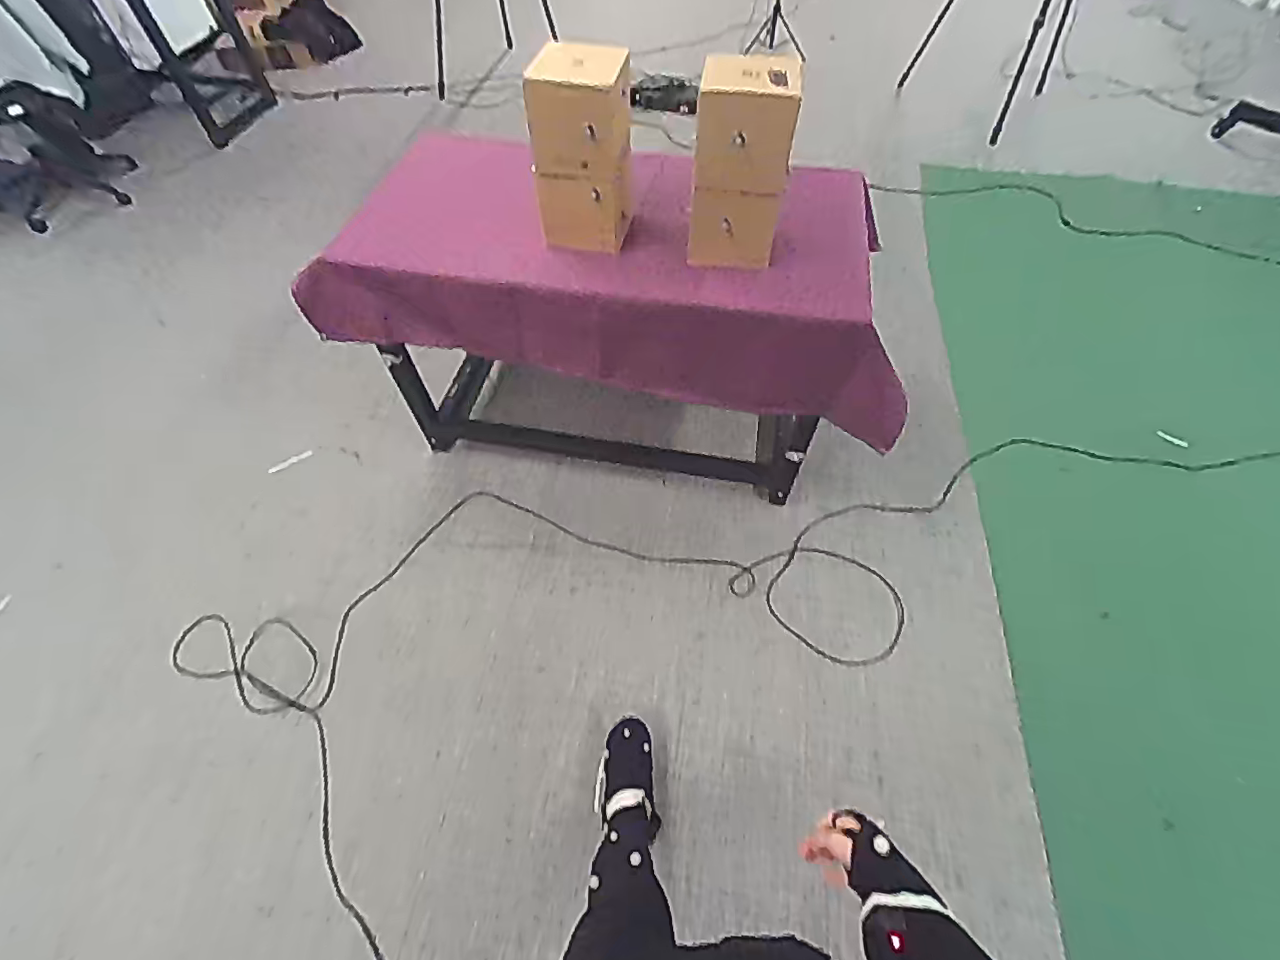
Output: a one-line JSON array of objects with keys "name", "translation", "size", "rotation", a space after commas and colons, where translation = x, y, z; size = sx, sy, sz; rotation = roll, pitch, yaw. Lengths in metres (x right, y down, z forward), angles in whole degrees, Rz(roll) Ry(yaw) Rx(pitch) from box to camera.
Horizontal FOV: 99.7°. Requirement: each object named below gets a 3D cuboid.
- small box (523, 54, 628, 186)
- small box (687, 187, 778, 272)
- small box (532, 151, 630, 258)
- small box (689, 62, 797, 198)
[{"name": "small box", "translation": [-0.118, -0.714, 1.078], "size": [0.168, 0.176, 0.179], "rotation": [9, 55, 5]}, {"name": "small box", "translation": [0.197, -0.570, 1.167], "size": [0.179, 0.176, 0.168], "rotation": [6, 56, 6]}, {"name": "small box", "translation": [-0.123, -0.623, 1.212], "size": [0.179, 0.176, 0.168], "rotation": [10, 56, 6]}, {"name": "small box", "translation": [0.193, -0.662, 1.030], "size": [0.179, 0.176, 0.168], "rotation": [7, 55, 6]}]
